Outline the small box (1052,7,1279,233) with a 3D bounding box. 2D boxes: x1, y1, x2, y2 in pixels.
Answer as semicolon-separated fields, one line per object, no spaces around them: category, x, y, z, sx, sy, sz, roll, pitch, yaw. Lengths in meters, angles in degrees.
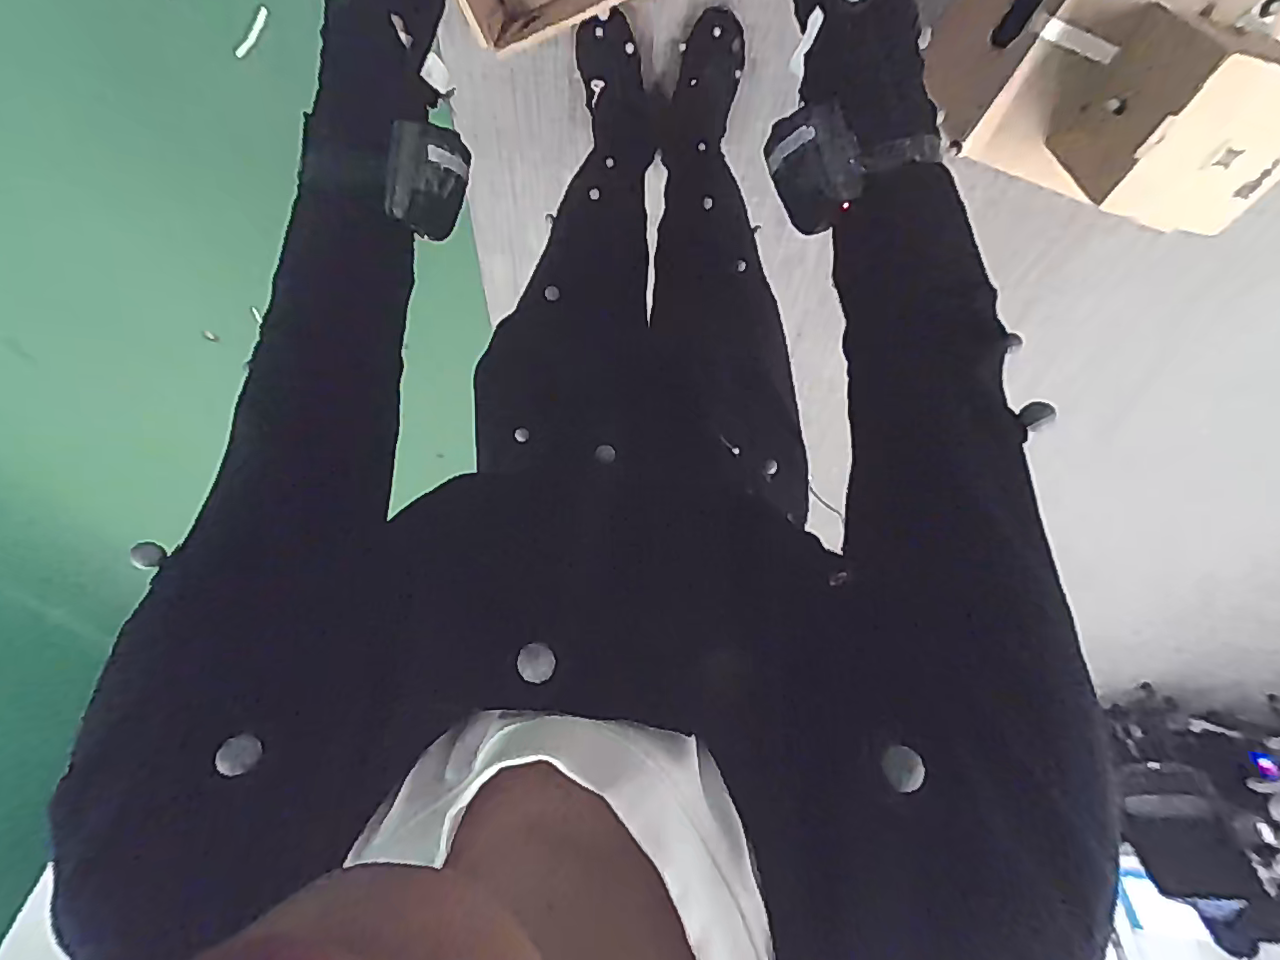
small box;0.665;-0.441;0.664;0.179;0.176;0.168;10;144;-6
